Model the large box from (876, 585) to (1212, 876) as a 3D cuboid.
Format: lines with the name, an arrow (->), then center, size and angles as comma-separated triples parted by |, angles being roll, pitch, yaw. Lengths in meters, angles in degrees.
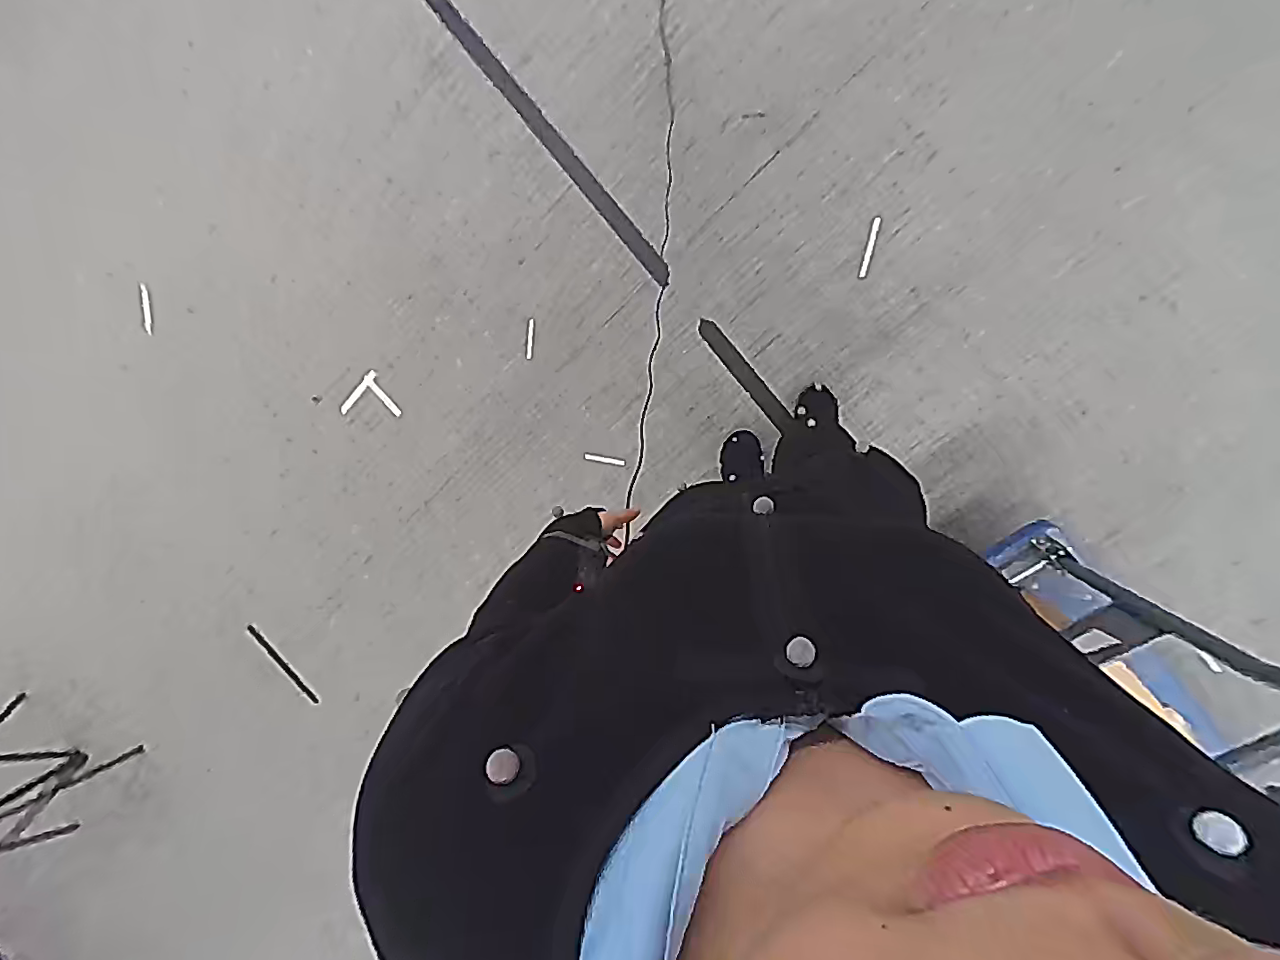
large box -> 0.785, 0.497, 1.131 | 0.408, 0.320, 0.320 | -42, 89, 16
